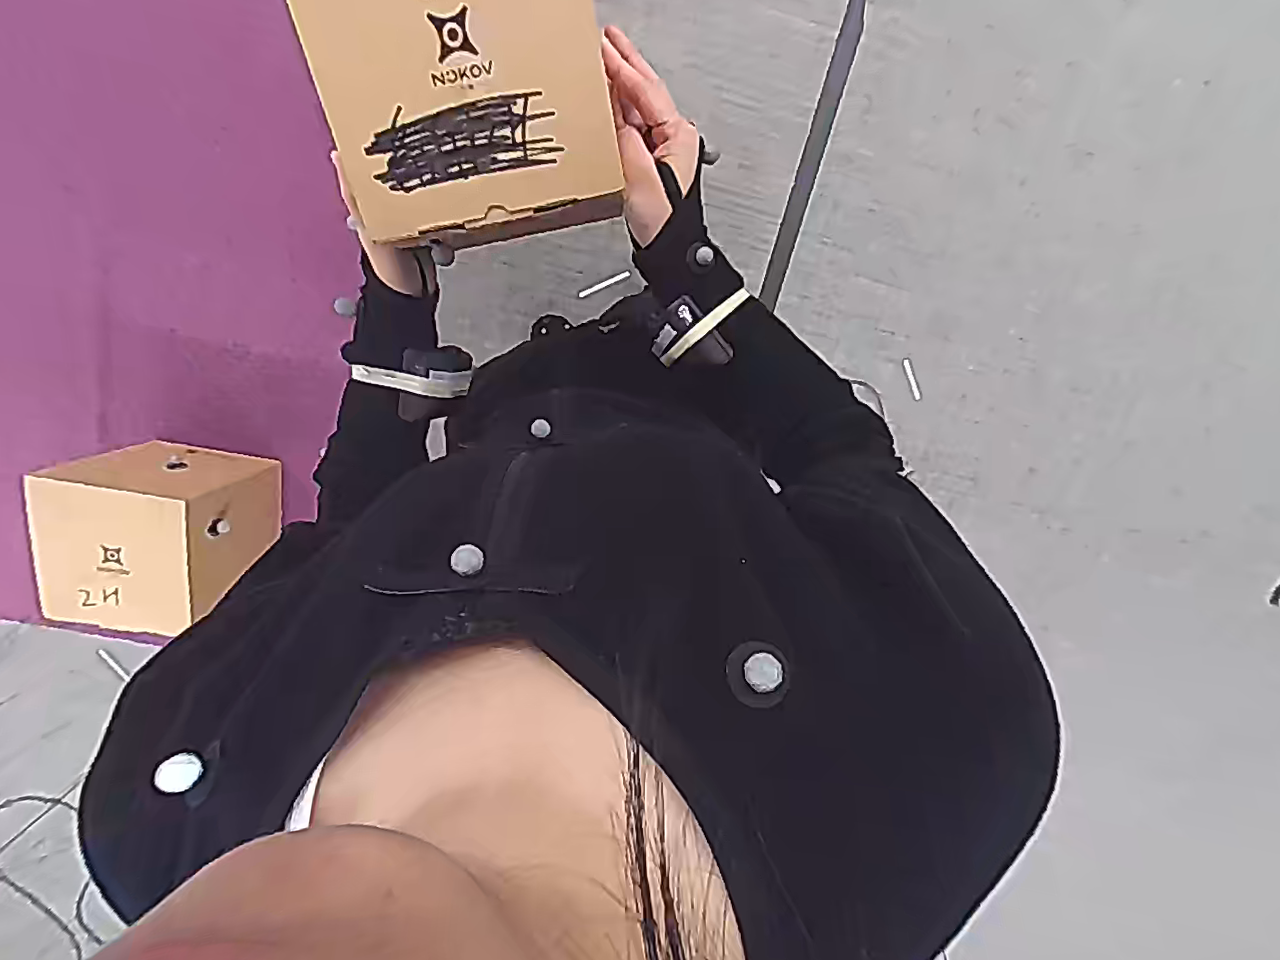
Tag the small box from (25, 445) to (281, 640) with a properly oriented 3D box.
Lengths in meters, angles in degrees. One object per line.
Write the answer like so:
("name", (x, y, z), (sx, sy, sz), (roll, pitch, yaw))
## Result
("small box", (-0.575, 0.066, 0.666), (0.168, 0.176, 0.179), (10, 106, -3))
